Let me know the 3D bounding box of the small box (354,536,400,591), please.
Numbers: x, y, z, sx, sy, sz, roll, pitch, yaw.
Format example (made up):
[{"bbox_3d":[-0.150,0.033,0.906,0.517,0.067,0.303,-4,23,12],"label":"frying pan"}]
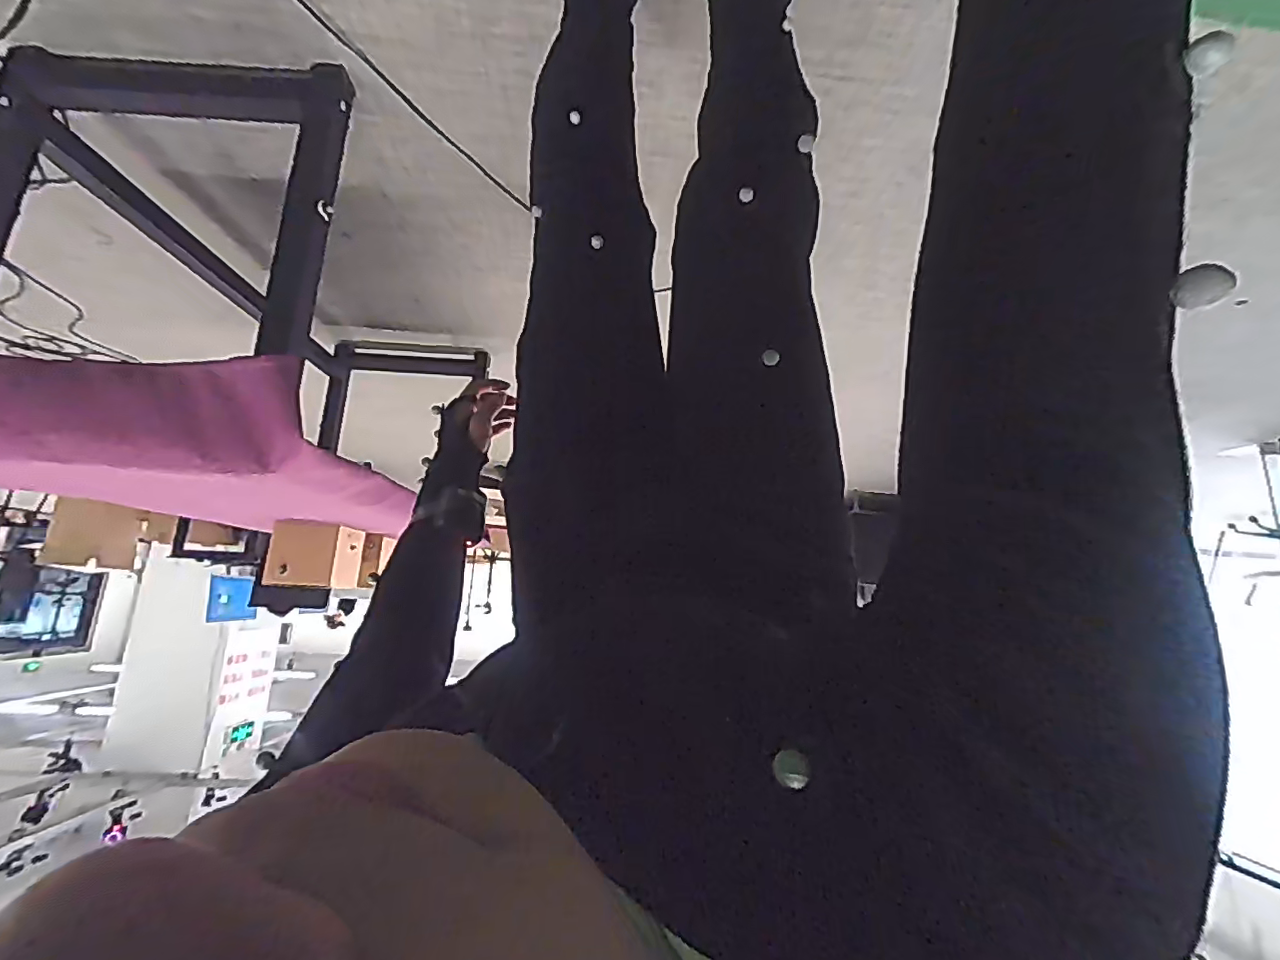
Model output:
[{"bbox_3d":[-0.893,0.269,1.746,0.168,0.176,0.179,3,168,-4],"label":"small box"}]

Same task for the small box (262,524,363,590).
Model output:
[{"bbox_3d":[-0.897,0.213,1.496,0.179,0.176,0.168,3,168,-4],"label":"small box"}]
